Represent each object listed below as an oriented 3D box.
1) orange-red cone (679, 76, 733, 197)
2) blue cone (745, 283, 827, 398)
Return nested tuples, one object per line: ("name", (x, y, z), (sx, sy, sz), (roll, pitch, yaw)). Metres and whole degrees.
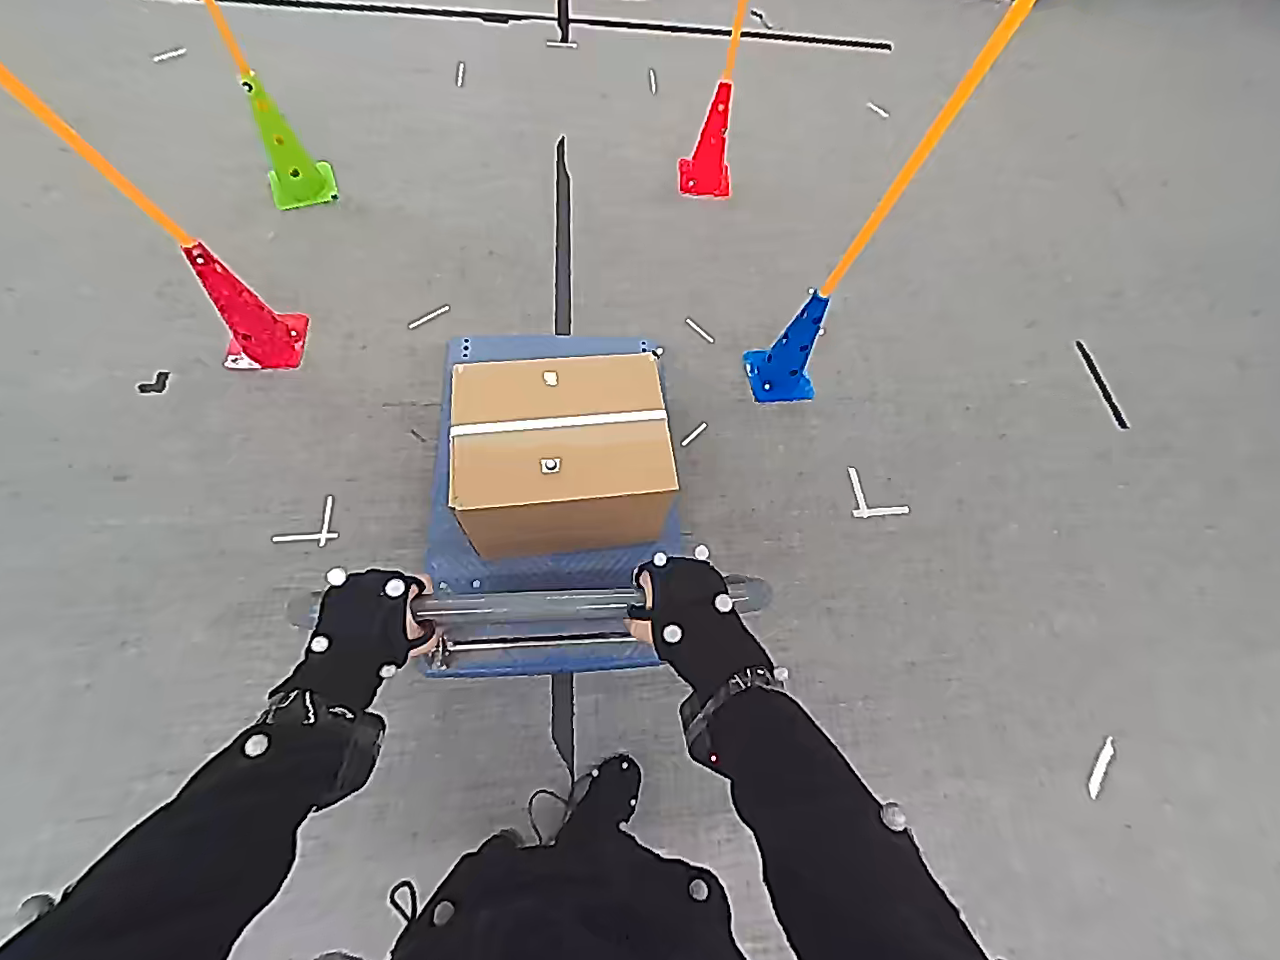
("orange-red cone", (0.271, -1.239, 1.926), (0.199, 0.360, 0.198), (5, 66, -5))
("blue cone", (0.461, -0.416, 1.585), (0.193, 0.380, 0.192), (-5, 65, -9))
